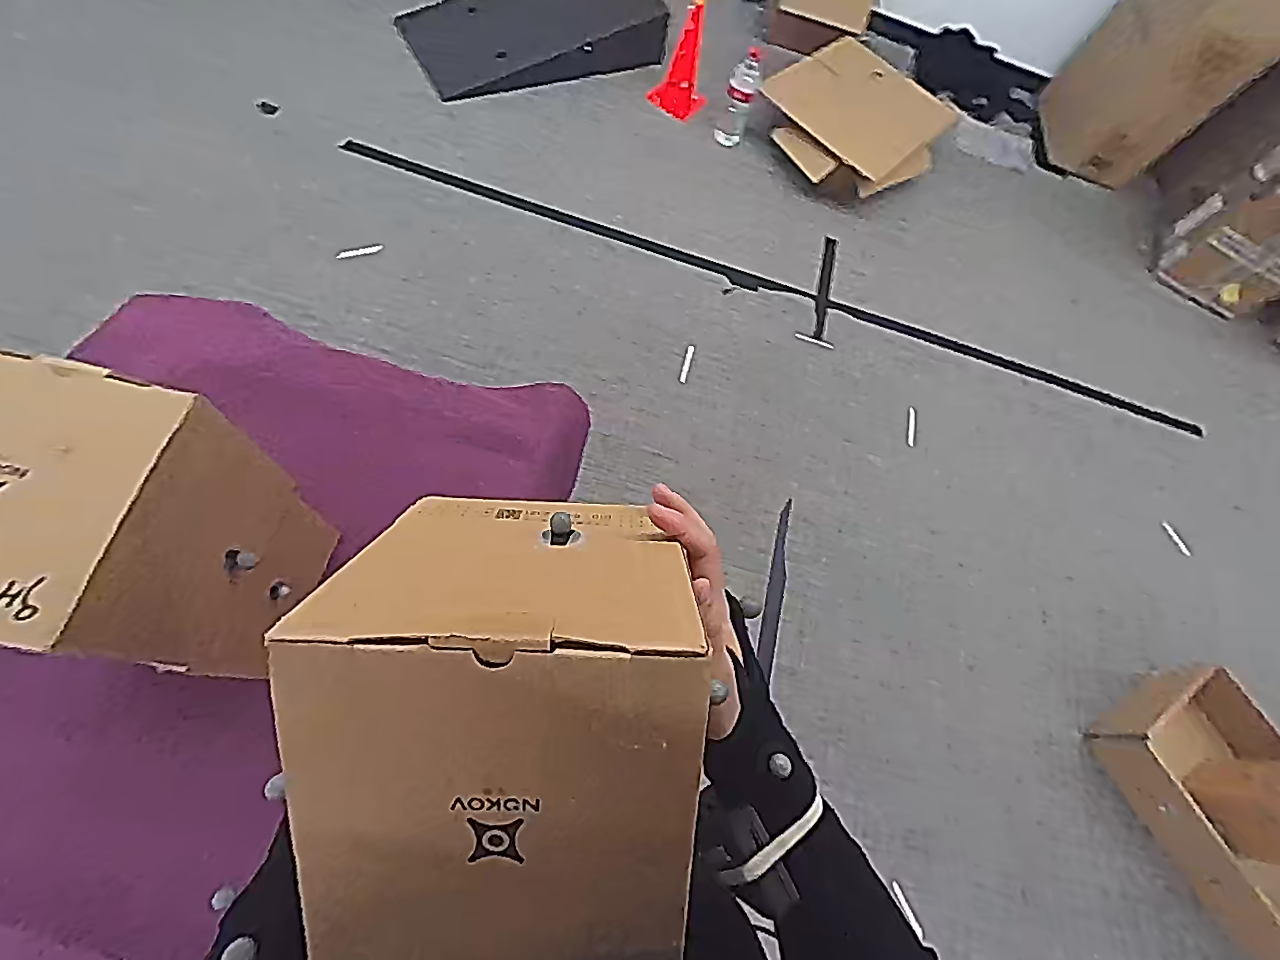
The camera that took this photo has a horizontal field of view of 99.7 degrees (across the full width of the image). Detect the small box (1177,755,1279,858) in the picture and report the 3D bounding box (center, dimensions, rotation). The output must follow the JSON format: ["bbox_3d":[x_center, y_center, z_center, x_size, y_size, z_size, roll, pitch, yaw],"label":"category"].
[{"bbox_3d":[1.581,0.840,1.412,0.179,0.176,0.168,-22,72,-19],"label":"small box"}]

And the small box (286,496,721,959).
[{"bbox_3d":[-0.056,0.119,0.301,0.168,0.176,0.179,3,104,-2],"label":"small box"}]

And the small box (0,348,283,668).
[{"bbox_3d":[-0.408,0.032,0.406,0.168,0.176,0.179,12,65,-5],"label":"small box"}]
